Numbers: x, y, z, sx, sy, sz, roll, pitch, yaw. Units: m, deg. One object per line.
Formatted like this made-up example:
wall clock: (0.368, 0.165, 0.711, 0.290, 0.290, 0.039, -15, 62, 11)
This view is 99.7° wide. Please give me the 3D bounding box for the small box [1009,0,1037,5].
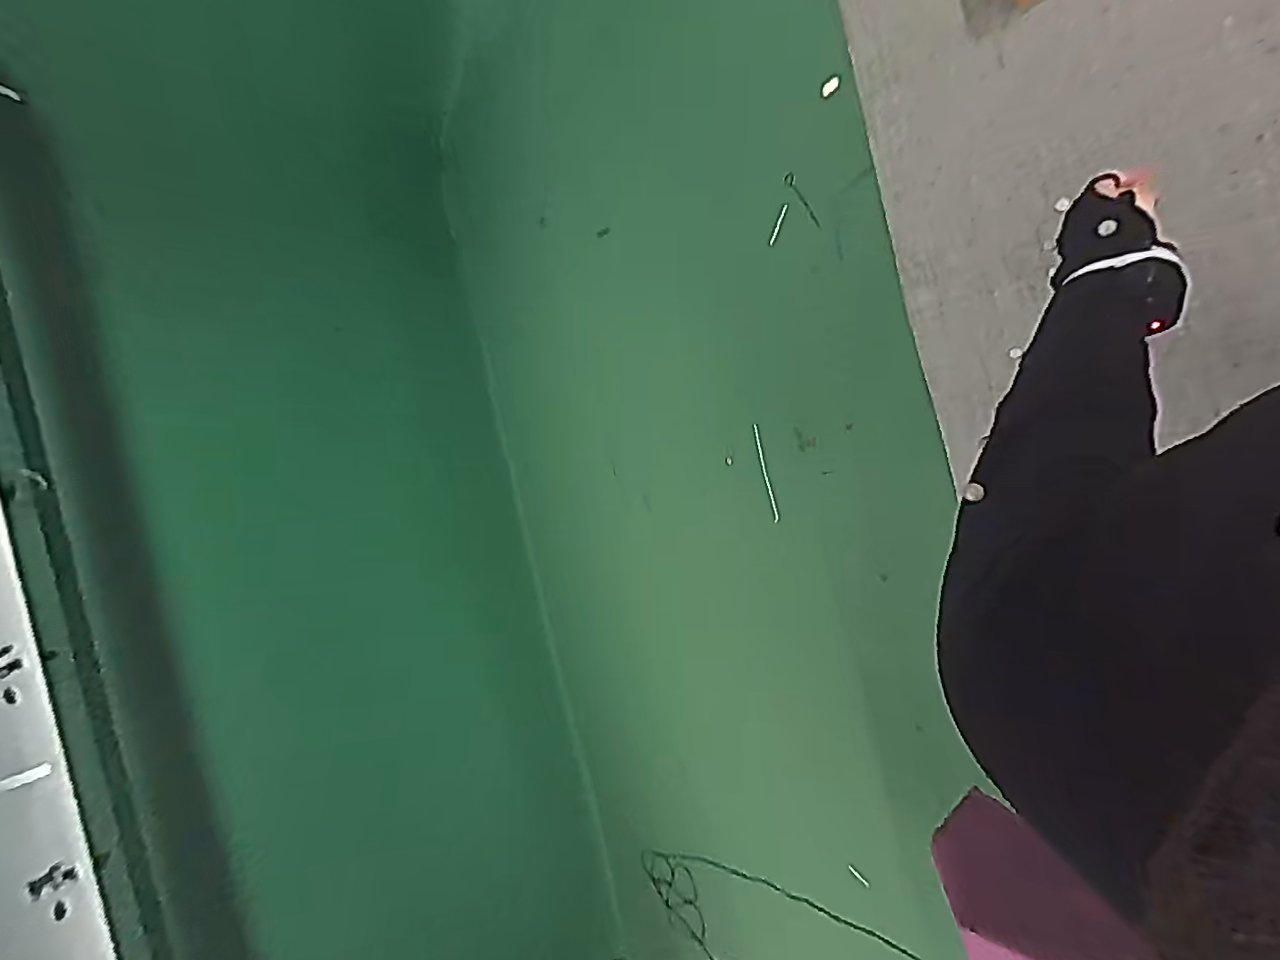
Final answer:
small box: (0.792, -1.088, 1.059, 0.168, 0.176, 0.179, -16, 88, 55)
